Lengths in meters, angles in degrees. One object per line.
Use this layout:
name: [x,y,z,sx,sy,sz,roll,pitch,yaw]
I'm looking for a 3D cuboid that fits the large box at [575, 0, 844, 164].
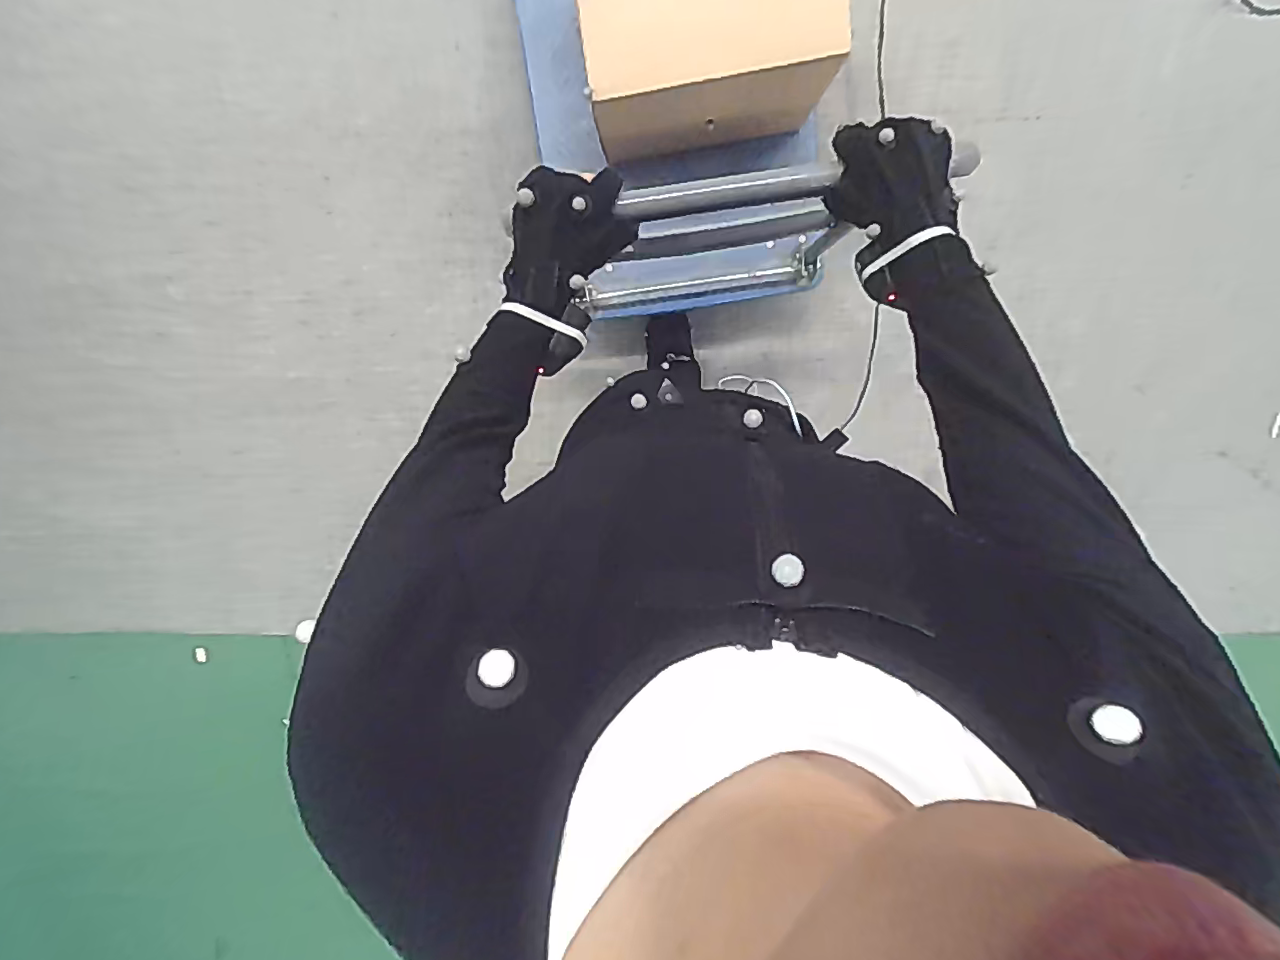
large box: [0.105,-0.805,0.957,0.408,0.320,0.320,-8,103,5]
